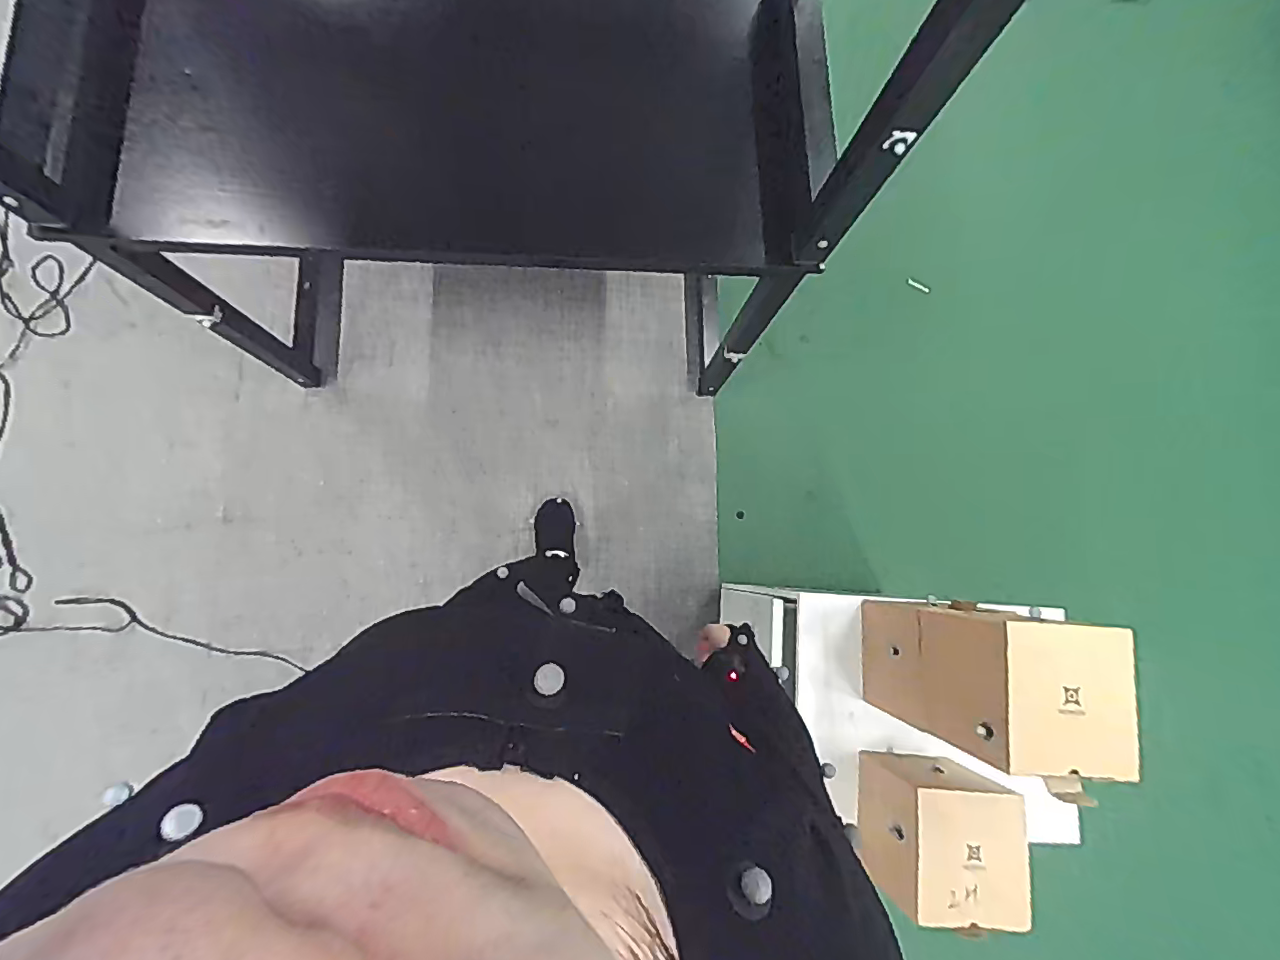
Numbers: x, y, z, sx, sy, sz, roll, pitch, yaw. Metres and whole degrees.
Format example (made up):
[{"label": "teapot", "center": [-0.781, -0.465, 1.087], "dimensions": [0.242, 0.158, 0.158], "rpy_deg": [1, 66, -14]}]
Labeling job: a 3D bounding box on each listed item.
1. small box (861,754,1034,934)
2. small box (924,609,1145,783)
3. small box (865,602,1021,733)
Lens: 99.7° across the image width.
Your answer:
[{"label": "small box", "center": [0.453, 0.535, 0.820], "dimensions": [0.168, 0.176, 0.179], "rpy_deg": [7, 80, -4]}, {"label": "small box", "center": [0.494, 0.266, 0.702], "dimensions": [0.168, 0.176, 0.179], "rpy_deg": [5, 83, -5]}, {"label": "small box", "center": [0.476, 0.290, 0.863], "dimensions": [0.168, 0.176, 0.179], "rpy_deg": [3, 81, -5]}]
